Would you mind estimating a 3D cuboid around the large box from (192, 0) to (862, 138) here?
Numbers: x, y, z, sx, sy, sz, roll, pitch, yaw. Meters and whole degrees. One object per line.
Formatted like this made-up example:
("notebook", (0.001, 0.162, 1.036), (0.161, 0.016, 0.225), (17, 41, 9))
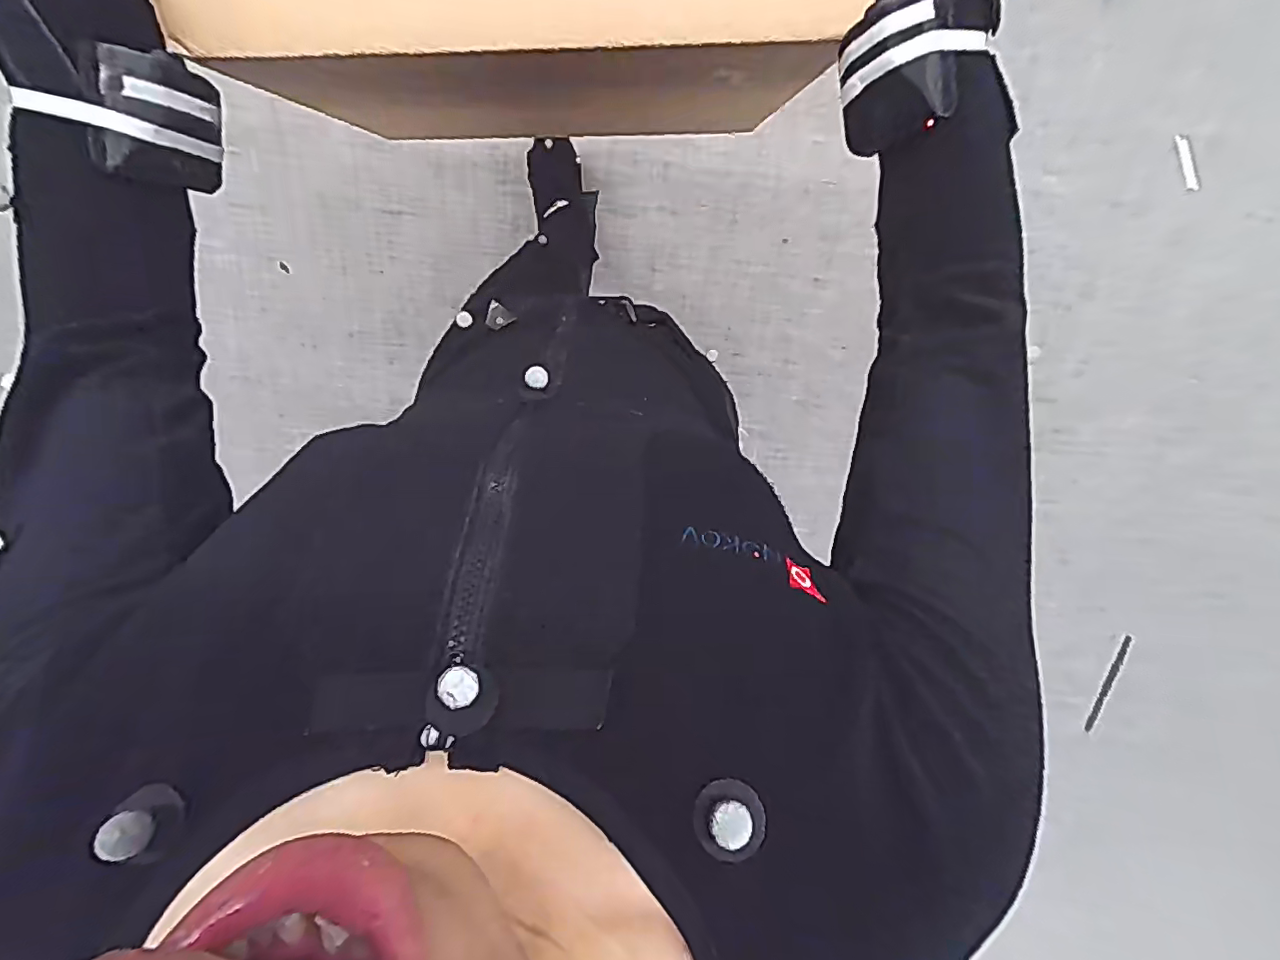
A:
("large box", (-0.075, -0.468, 0.400), (0.408, 0.320, 0.320), (-3, 114, -1))
